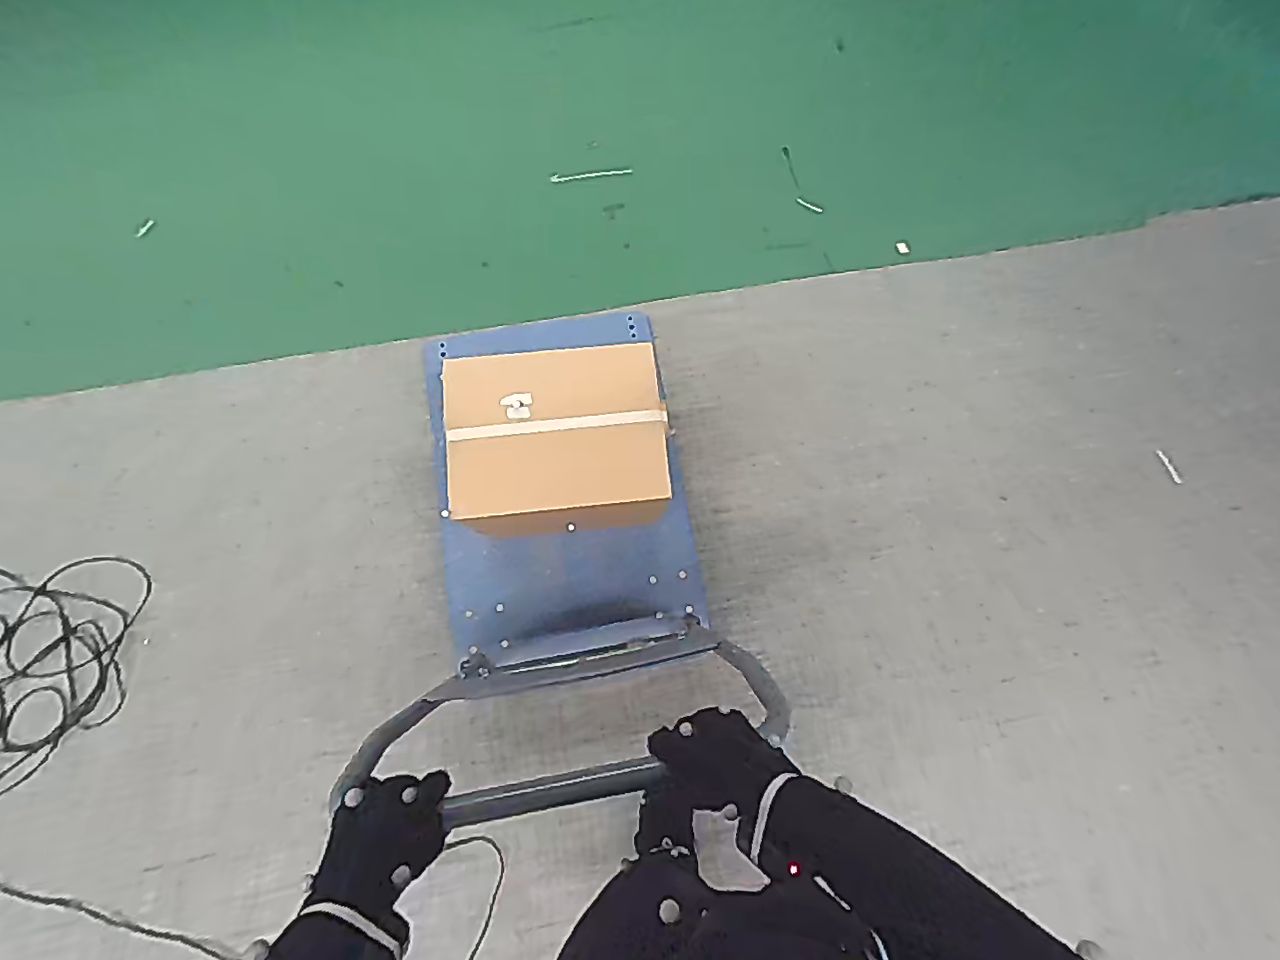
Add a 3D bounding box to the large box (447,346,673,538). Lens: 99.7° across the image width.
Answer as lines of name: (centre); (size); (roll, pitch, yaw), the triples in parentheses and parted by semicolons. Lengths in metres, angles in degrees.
large box: (-0.156, -0.060, 1.155); (0.408, 0.320, 0.320); (-6, 78, -3)
